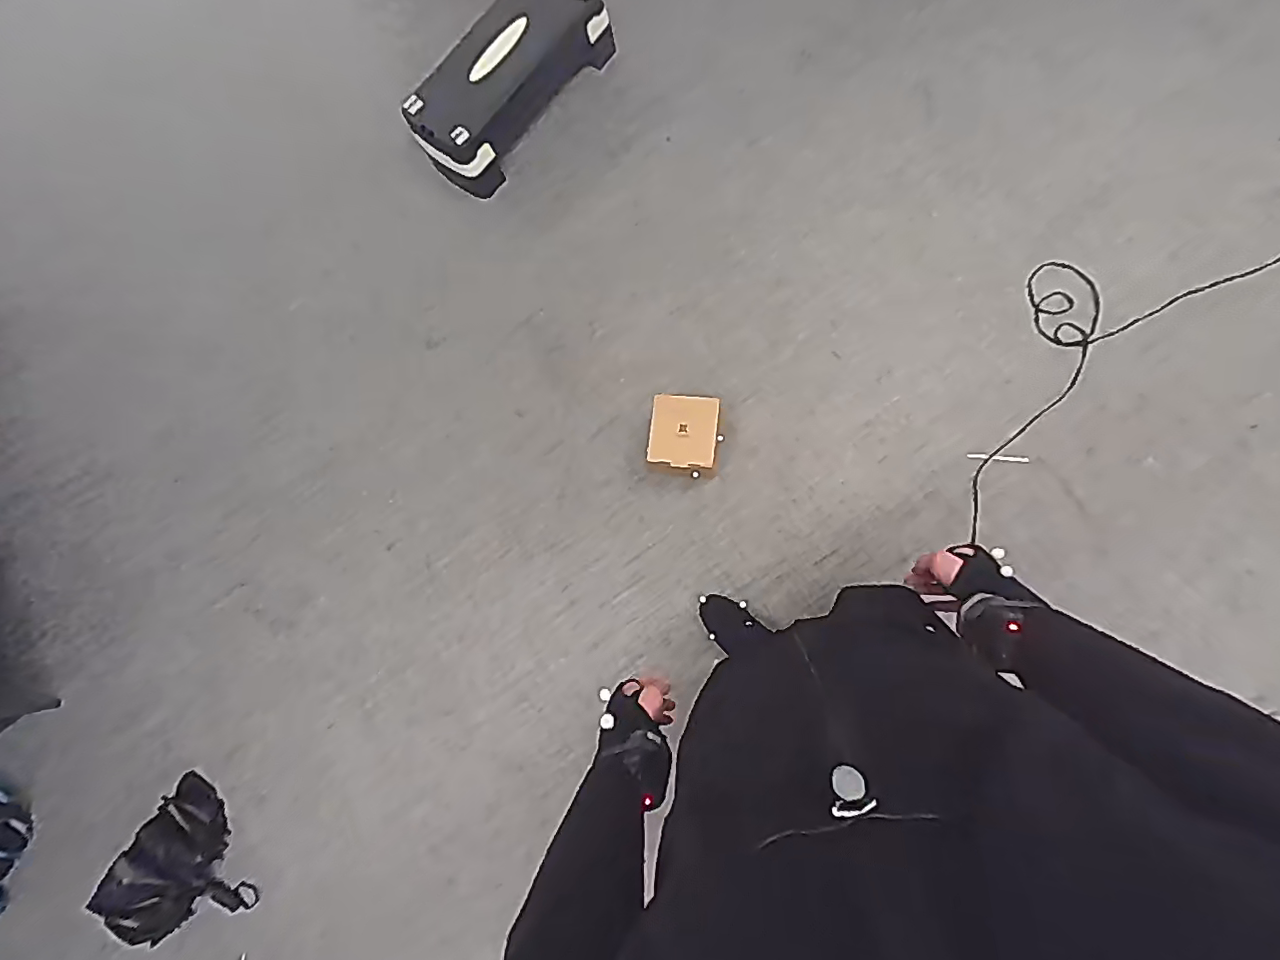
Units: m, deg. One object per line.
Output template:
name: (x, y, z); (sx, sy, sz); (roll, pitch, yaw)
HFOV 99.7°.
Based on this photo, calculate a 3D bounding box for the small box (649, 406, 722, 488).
small box: (0.125, -0.081, 1.421); (0.168, 0.176, 0.179); (5, 79, 10)
